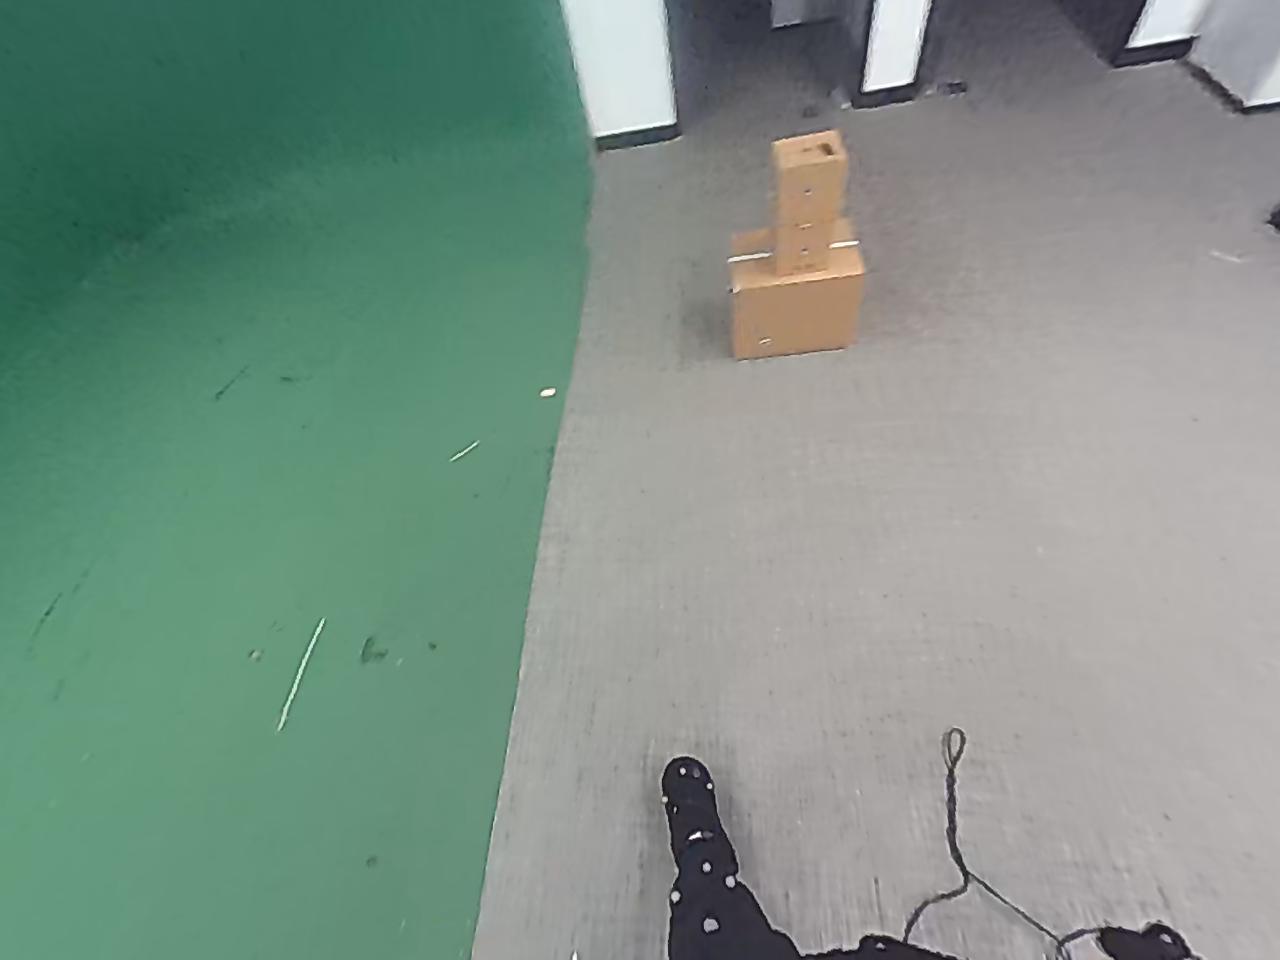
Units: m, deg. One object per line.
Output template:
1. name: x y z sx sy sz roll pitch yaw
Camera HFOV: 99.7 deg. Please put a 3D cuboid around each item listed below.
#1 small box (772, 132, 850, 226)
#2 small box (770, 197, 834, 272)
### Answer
1. small box: 0.478 -0.851 1.537 0.179 0.176 0.168 -6 56 6
2. small box: 0.497 -0.765 1.677 0.168 0.176 0.179 -6 56 8
